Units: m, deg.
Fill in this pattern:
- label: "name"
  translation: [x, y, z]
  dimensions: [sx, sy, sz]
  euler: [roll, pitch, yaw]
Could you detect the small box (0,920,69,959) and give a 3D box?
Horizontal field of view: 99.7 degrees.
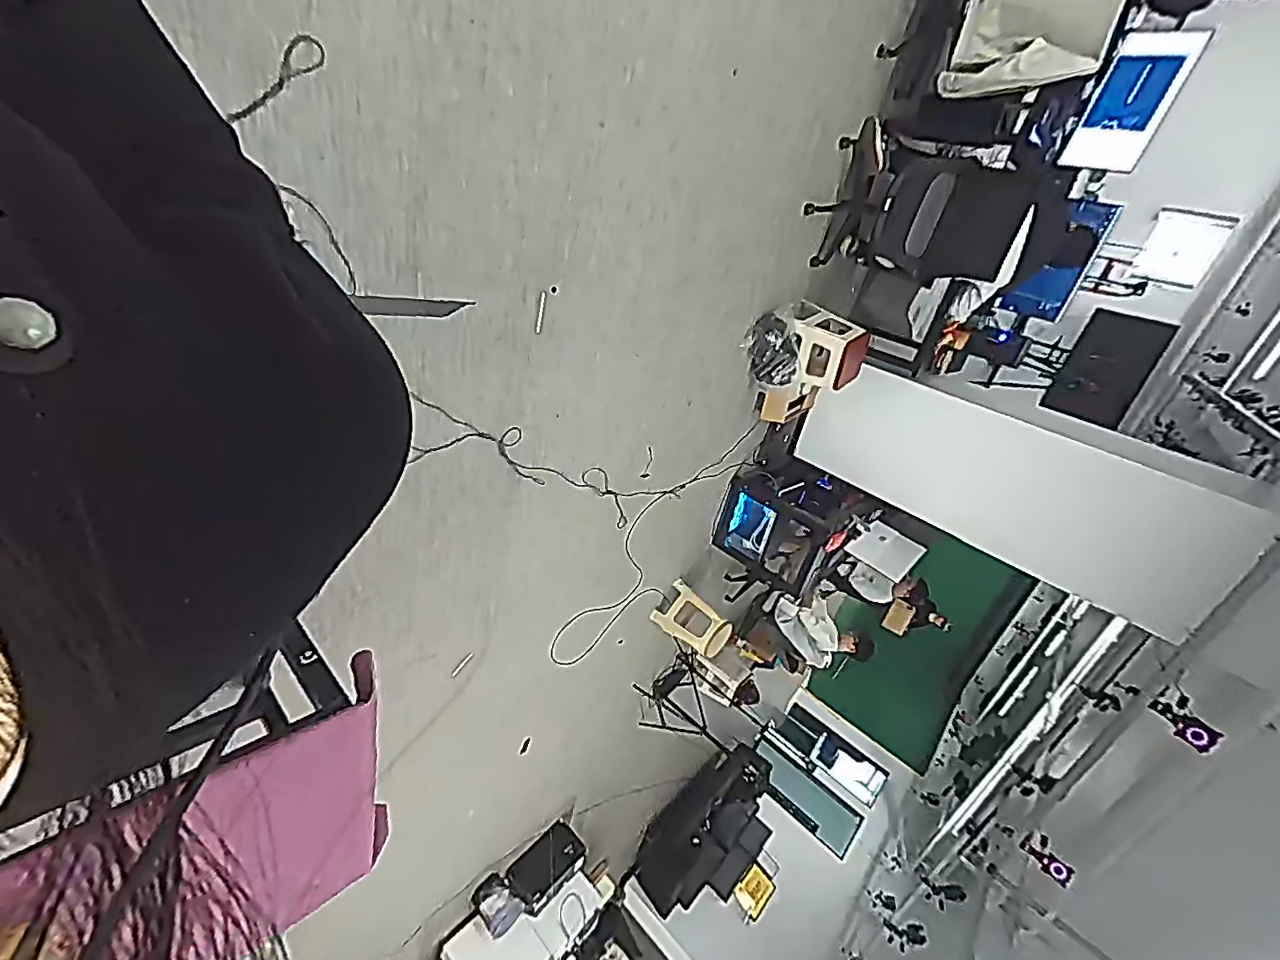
- label: "small box"
  translation: [-0.888, 0.762, 0.733]
  dimensions: [0.168, 0.176, 0.179]
  euler: [-16, 130, -49]
